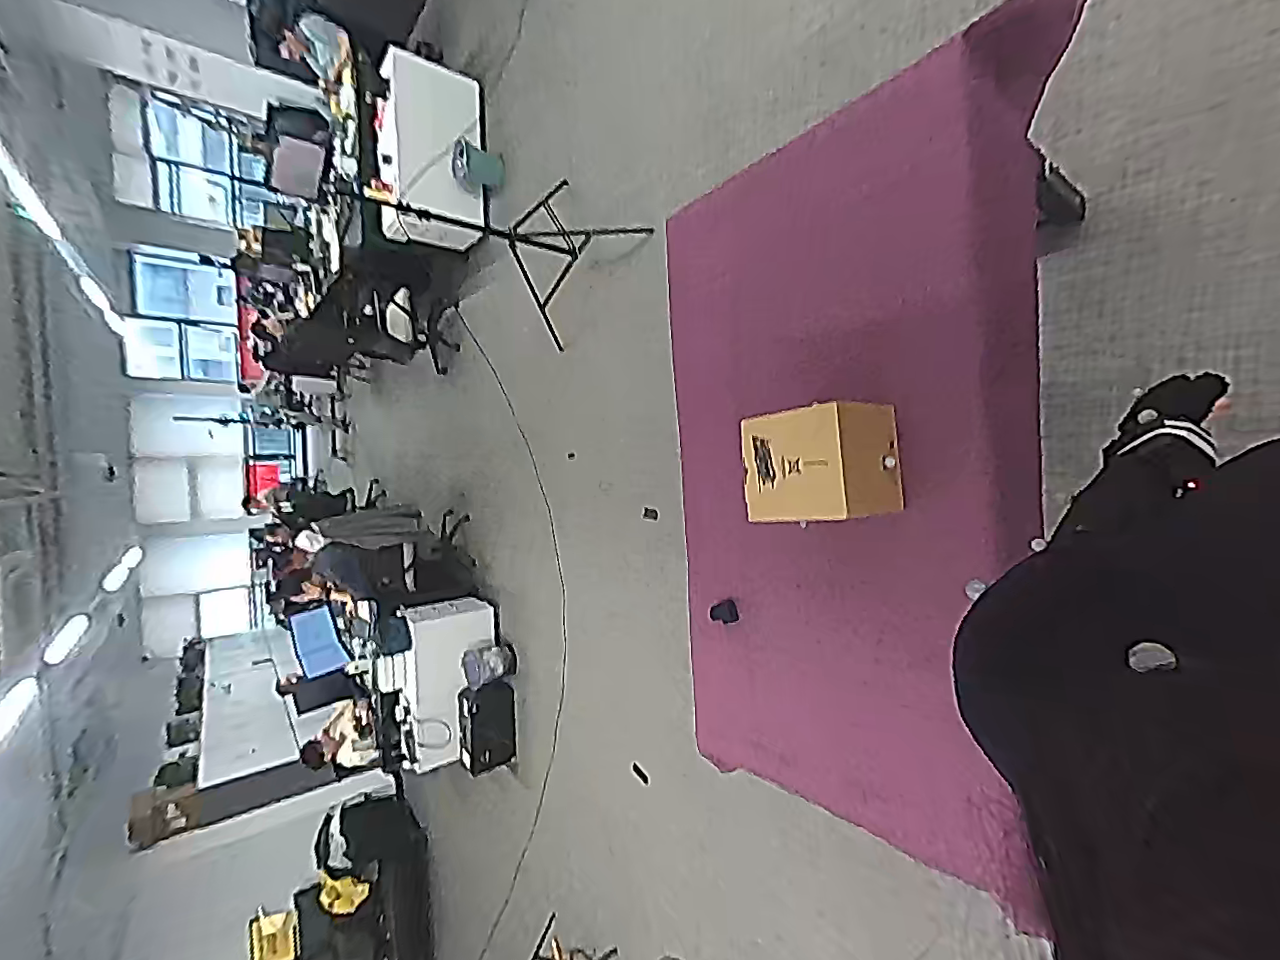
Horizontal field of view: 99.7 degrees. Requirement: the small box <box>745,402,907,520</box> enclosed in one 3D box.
[{"bbox_3d":[0.292,-0.024,0.855,0.179,0.176,0.168,-7,87,52],"label":"small box"}]
